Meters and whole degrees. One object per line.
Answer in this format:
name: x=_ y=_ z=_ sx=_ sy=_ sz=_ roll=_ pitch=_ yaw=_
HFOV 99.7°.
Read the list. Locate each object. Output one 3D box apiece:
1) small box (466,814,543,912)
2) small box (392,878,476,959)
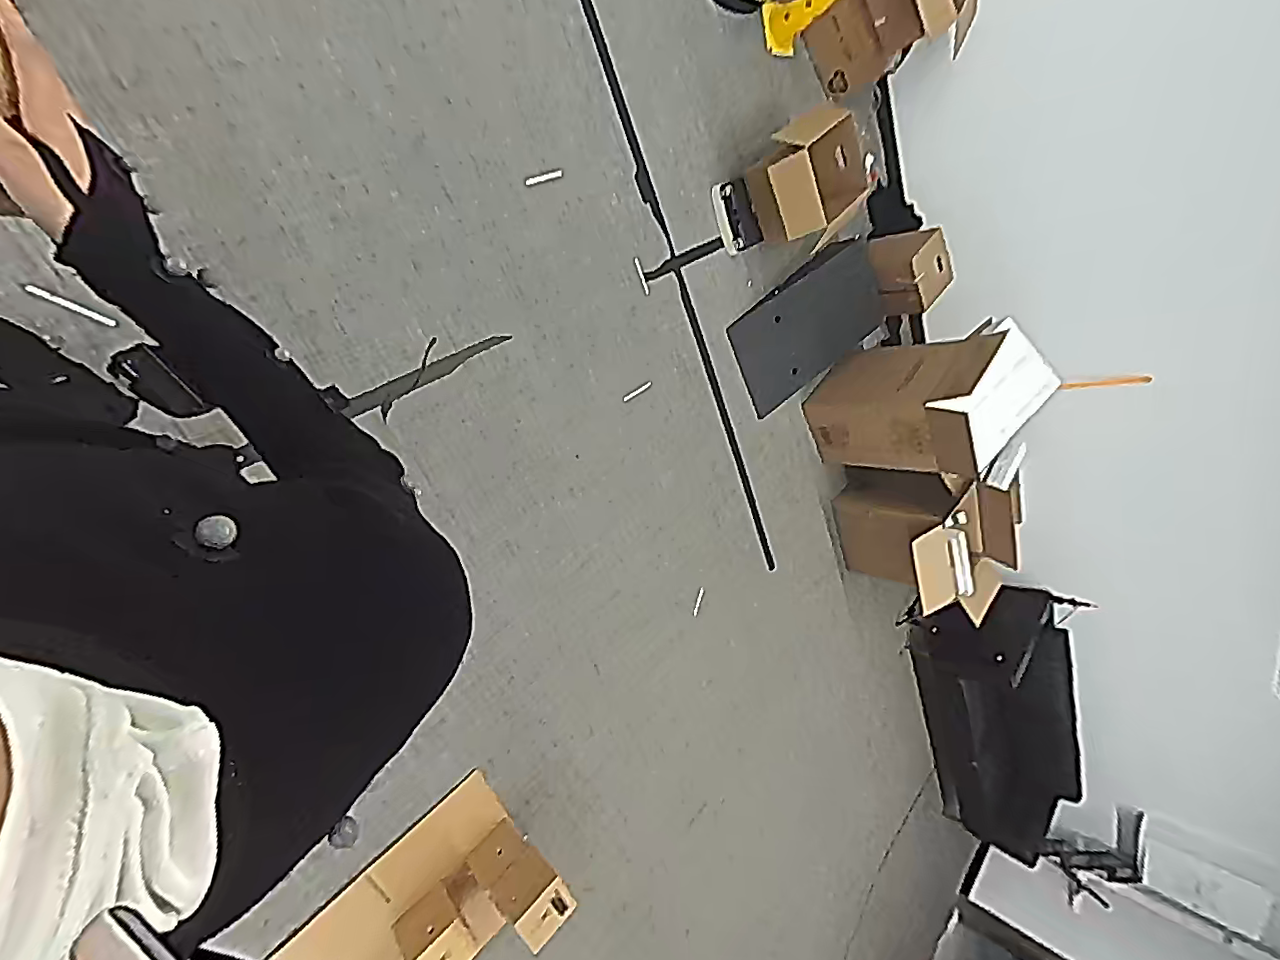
small box: x=-0.469 y=1.297 z=1.843 sx=0.179 sy=0.176 sz=0.168 roll=-37 pitch=118 yaw=-33
small box: x=-0.656 y=1.421 z=1.700 sx=0.179 sy=0.176 sz=0.168 roll=-34 pitch=116 yaw=-33
